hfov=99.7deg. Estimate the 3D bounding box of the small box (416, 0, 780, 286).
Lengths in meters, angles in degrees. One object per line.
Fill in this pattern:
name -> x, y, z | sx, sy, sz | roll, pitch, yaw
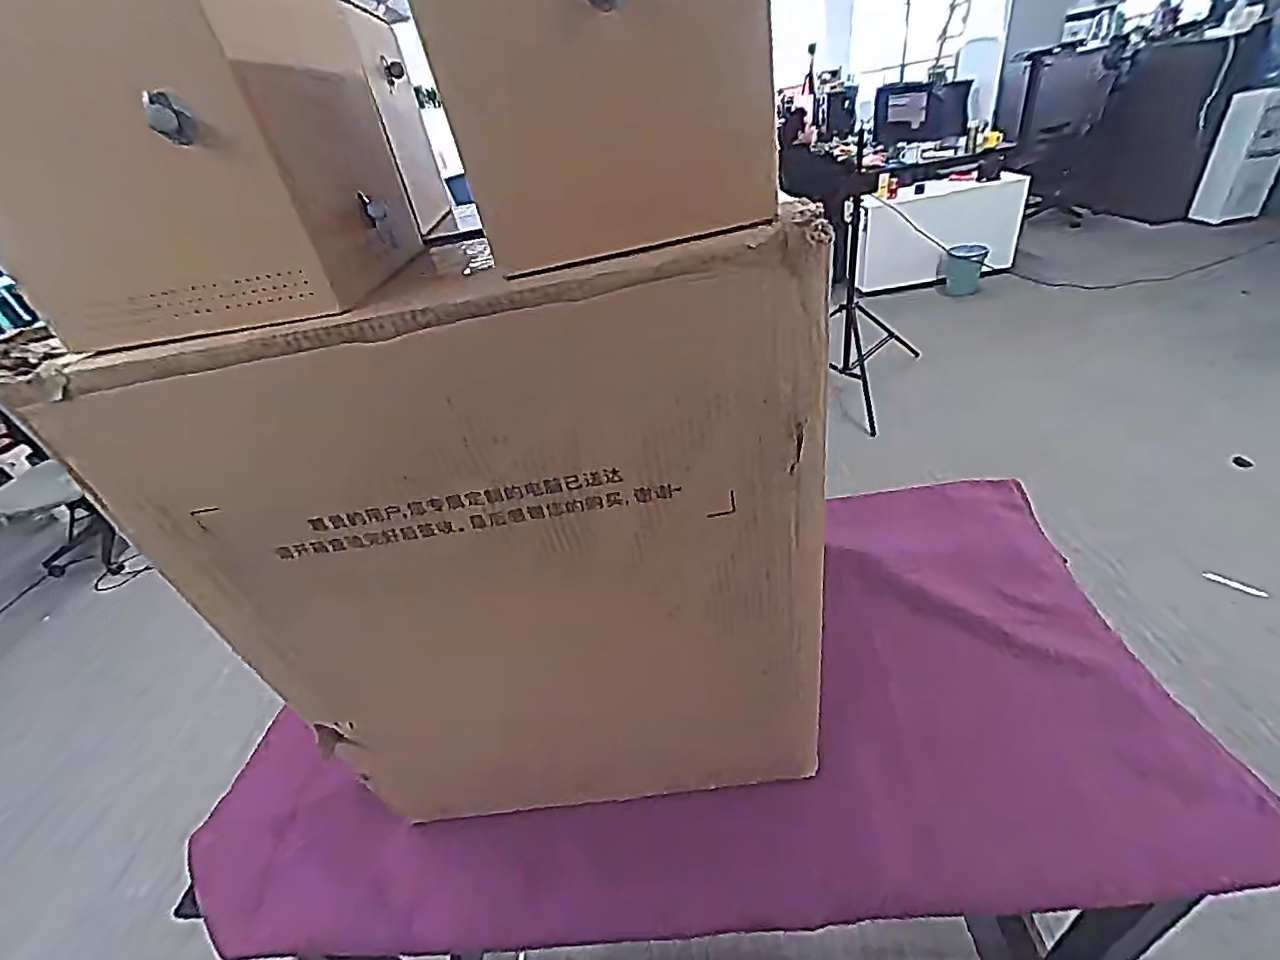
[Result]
small box -> -0.018, -0.241, 0.331 | 0.168, 0.176, 0.179 | -11, 34, 4
